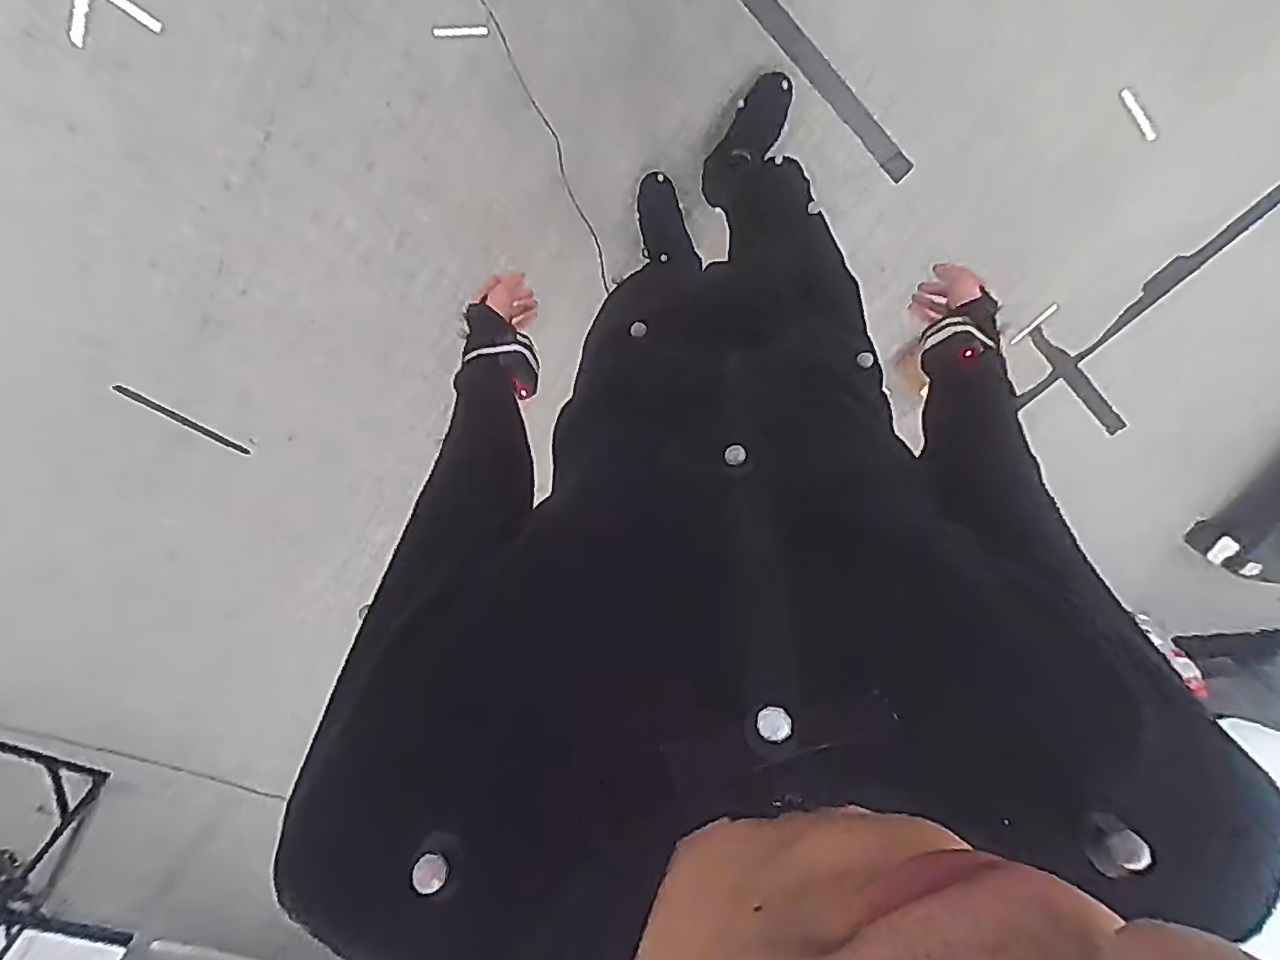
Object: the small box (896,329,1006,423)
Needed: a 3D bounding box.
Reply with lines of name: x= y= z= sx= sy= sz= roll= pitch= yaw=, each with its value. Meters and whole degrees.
small box: x=0.867 y=-0.298 z=1.523 sx=0.179 sy=0.176 sz=0.168 roll=31 pitch=119 yaw=-18
